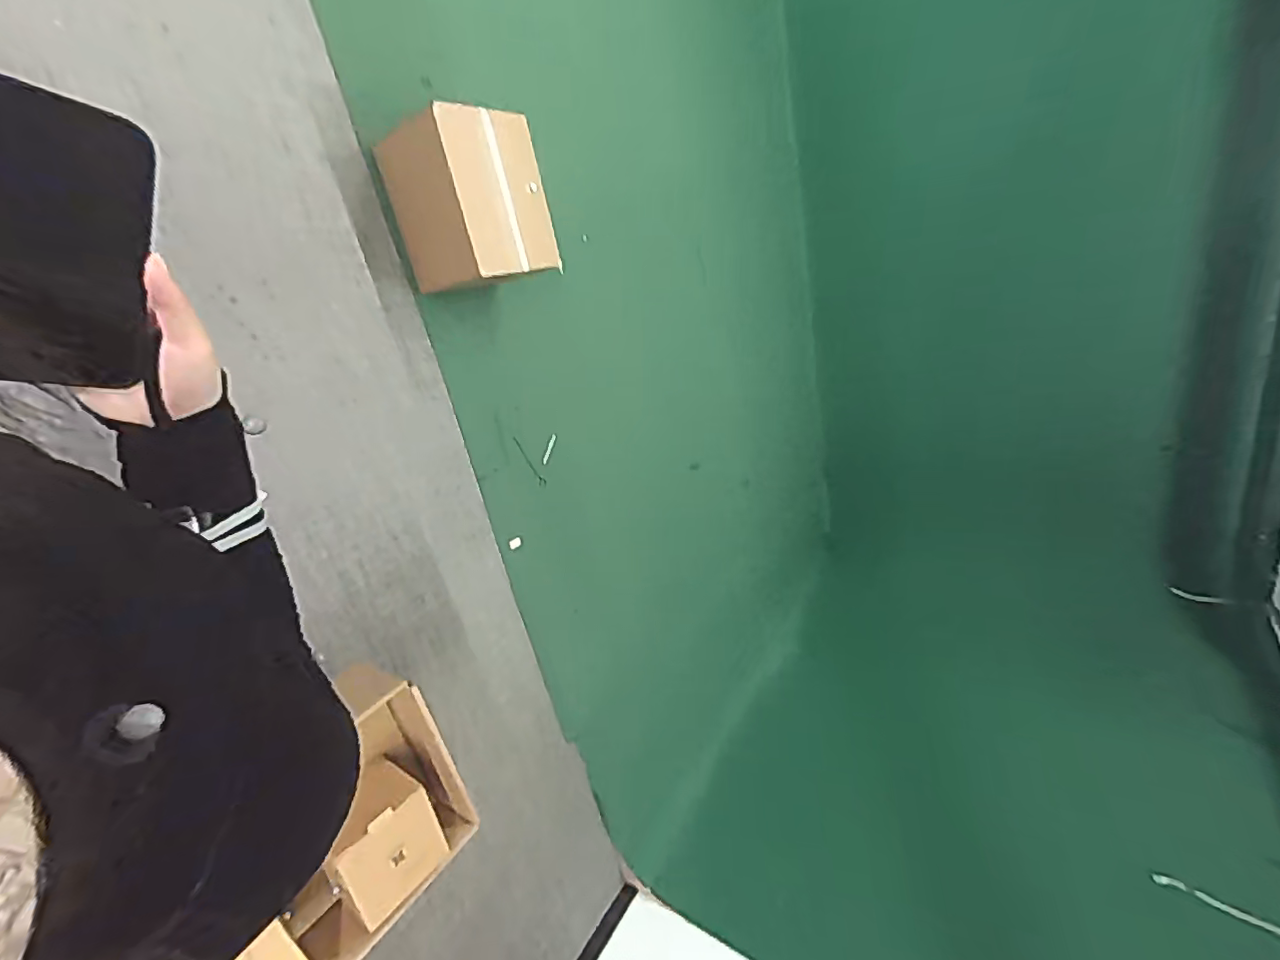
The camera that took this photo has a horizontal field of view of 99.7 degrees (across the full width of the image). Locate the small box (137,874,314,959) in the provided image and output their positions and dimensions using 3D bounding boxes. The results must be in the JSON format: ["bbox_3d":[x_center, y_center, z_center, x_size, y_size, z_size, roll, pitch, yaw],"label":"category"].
[{"bbox_3d":[-0.634,0.770,0.843,0.168,0.176,0.179,-37,119,-45],"label":"small box"}]
